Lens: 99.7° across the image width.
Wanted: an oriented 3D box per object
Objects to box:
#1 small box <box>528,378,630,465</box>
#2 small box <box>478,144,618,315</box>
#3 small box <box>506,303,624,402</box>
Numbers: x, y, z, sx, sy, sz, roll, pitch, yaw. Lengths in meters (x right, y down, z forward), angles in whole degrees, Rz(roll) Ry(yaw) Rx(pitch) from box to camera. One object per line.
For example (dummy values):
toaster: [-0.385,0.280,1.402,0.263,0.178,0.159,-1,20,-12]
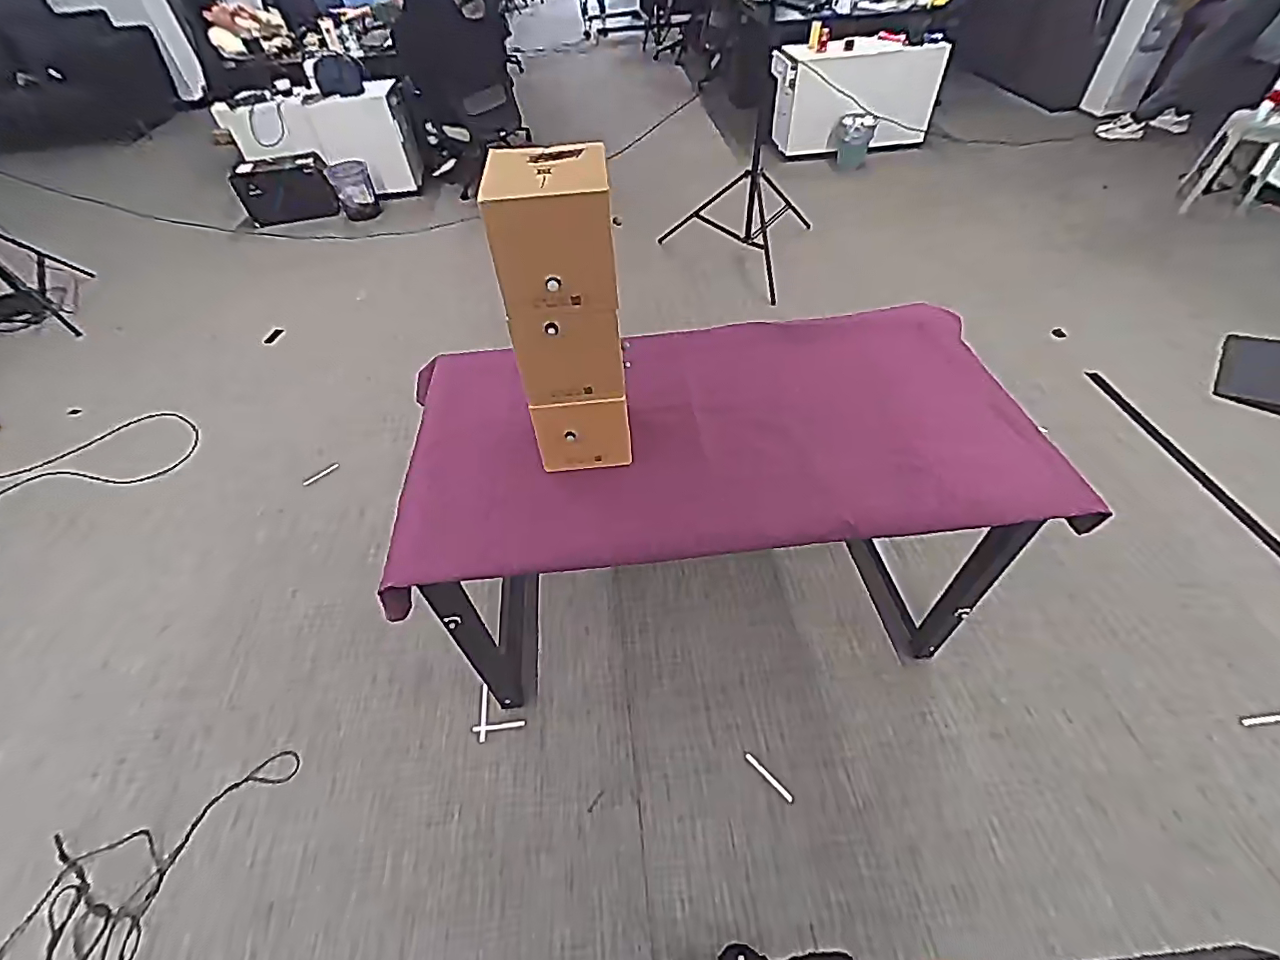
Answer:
small box: [-0.109,-0.141,1.025,0.168,0.176,0.179,-5,48,-1]
small box: [-0.122,-0.361,0.781,0.168,0.176,0.179,-5,49,-1]
small box: [-0.119,-0.253,0.906,0.168,0.176,0.179,-6,48,-1]
